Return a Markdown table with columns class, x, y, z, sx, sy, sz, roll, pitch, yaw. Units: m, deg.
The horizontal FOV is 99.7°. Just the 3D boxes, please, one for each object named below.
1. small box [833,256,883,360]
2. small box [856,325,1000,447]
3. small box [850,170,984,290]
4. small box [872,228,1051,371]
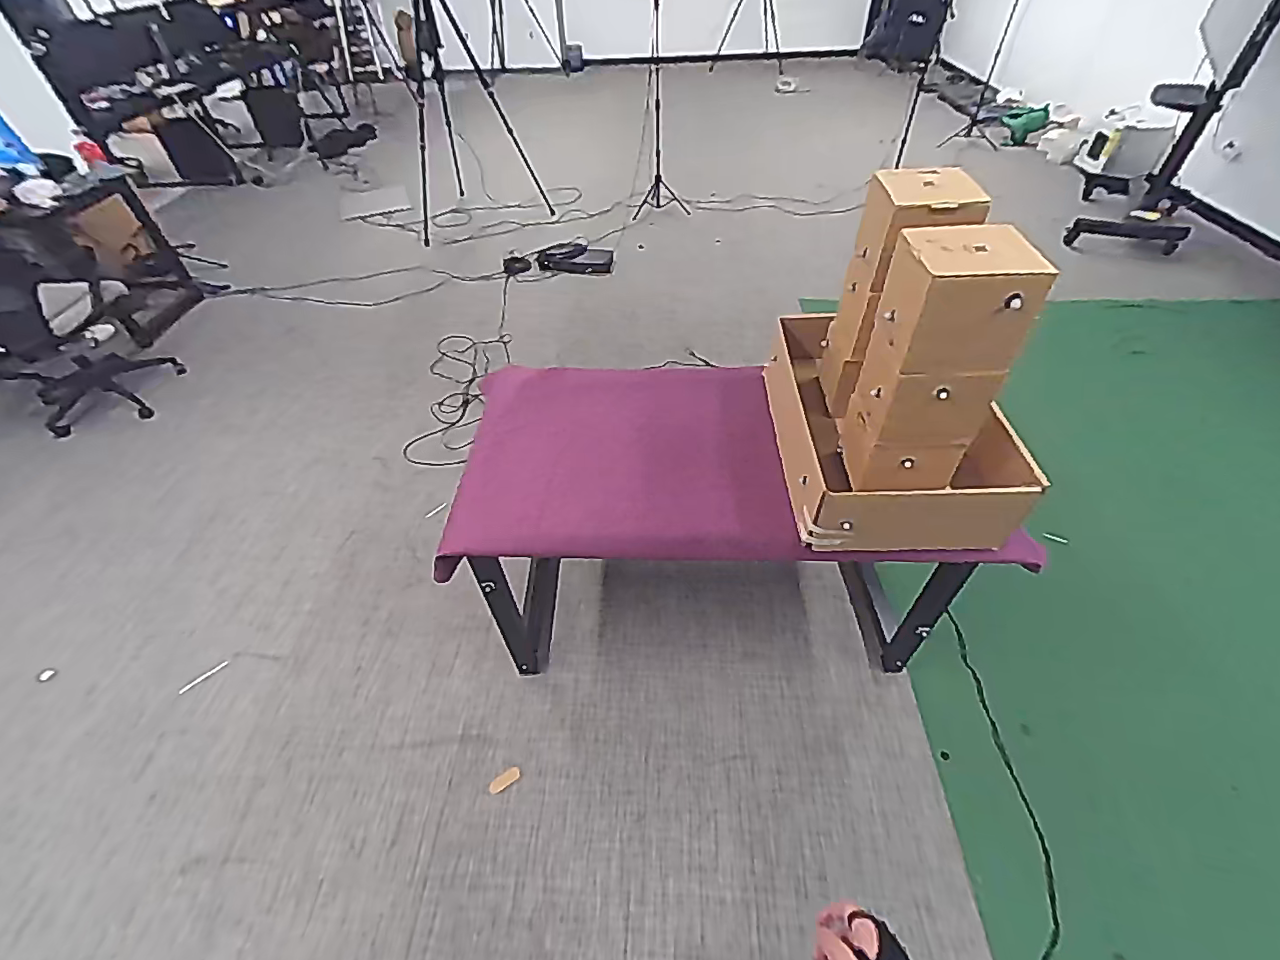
| class | x | y | z | sx | sy | sz | roll | pitch | yaw |
| --- | --- | --- | --- | --- | --- | --- | --- | --- | --- |
| small box | 0.533 | -0.371 | 1.180 | 0.168 | 0.176 | 0.179 | 1 | 48 | 4 |
| small box | 0.513 | -0.175 | 0.998 | 0.179 | 0.176 | 0.168 | 1 | 47 | 5 |
| small box | 0.528 | -0.483 | 1.059 | 0.168 | 0.176 | 0.179 | 1 | 49 | 3 |
| small box | 0.504 | -0.290 | 0.880 | 0.179 | 0.176 | 0.168 | 0 | 47 | 4 |
